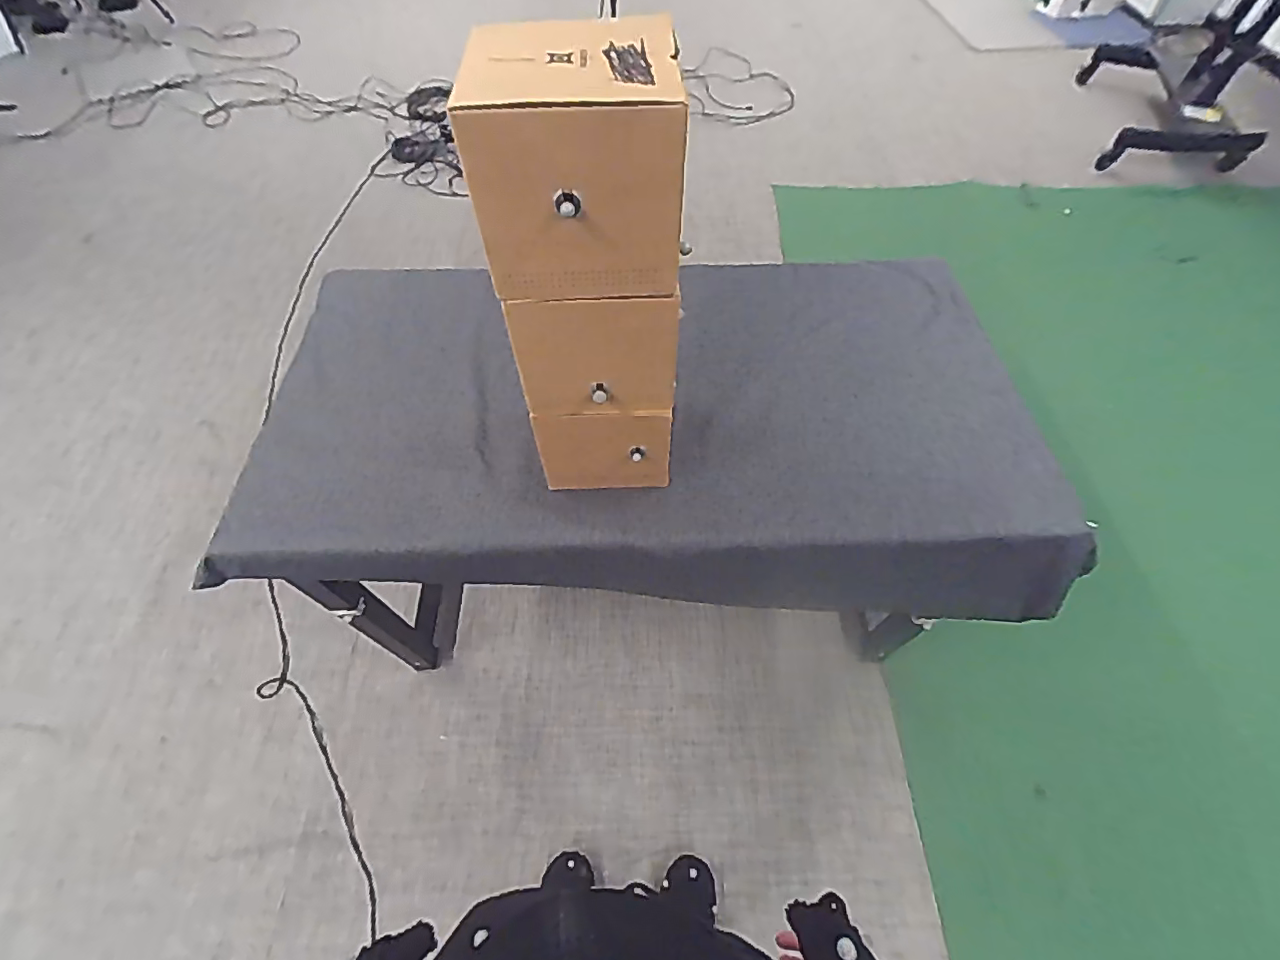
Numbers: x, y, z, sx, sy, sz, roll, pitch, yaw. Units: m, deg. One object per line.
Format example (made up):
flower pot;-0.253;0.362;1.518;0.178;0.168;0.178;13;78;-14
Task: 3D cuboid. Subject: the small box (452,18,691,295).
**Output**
small box;-0.051;-0.290;0.500;0.179;0.176;0.168;-2;57;0

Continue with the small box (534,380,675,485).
small box;-0.045;-0.104;0.771;0.179;0.176;0.168;-3;56;0

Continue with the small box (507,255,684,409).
small box;-0.047;-0.198;0.637;0.179;0.176;0.168;-2;56;-2
